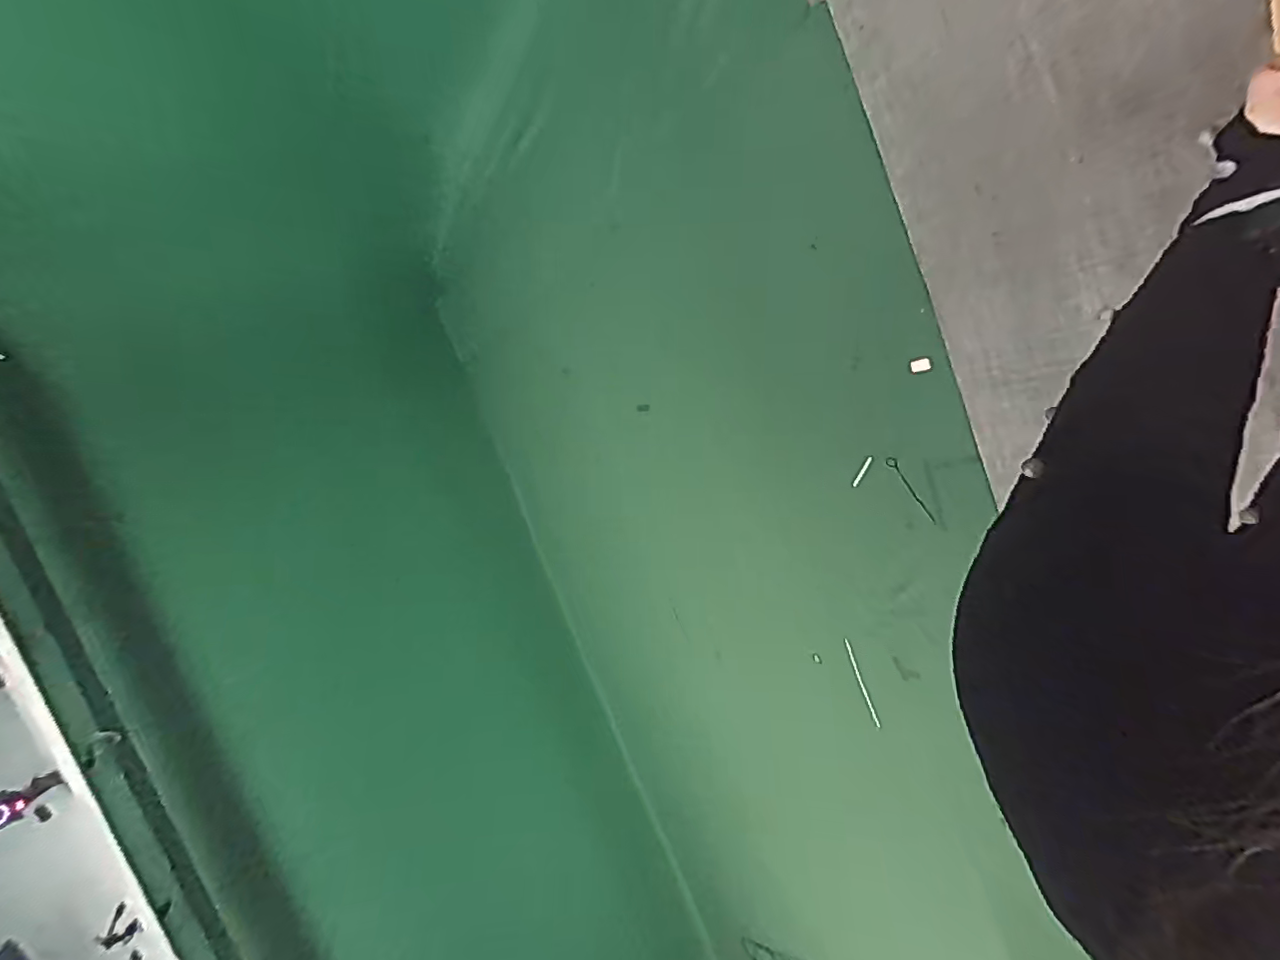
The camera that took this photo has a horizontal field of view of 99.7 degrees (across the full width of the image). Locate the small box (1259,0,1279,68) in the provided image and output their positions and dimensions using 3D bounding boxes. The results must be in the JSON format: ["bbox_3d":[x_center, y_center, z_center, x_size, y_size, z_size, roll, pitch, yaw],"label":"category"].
[{"bbox_3d":[0.527,-0.390,0.344,0.168,0.176,0.179,0,102,55],"label":"small box"}]
